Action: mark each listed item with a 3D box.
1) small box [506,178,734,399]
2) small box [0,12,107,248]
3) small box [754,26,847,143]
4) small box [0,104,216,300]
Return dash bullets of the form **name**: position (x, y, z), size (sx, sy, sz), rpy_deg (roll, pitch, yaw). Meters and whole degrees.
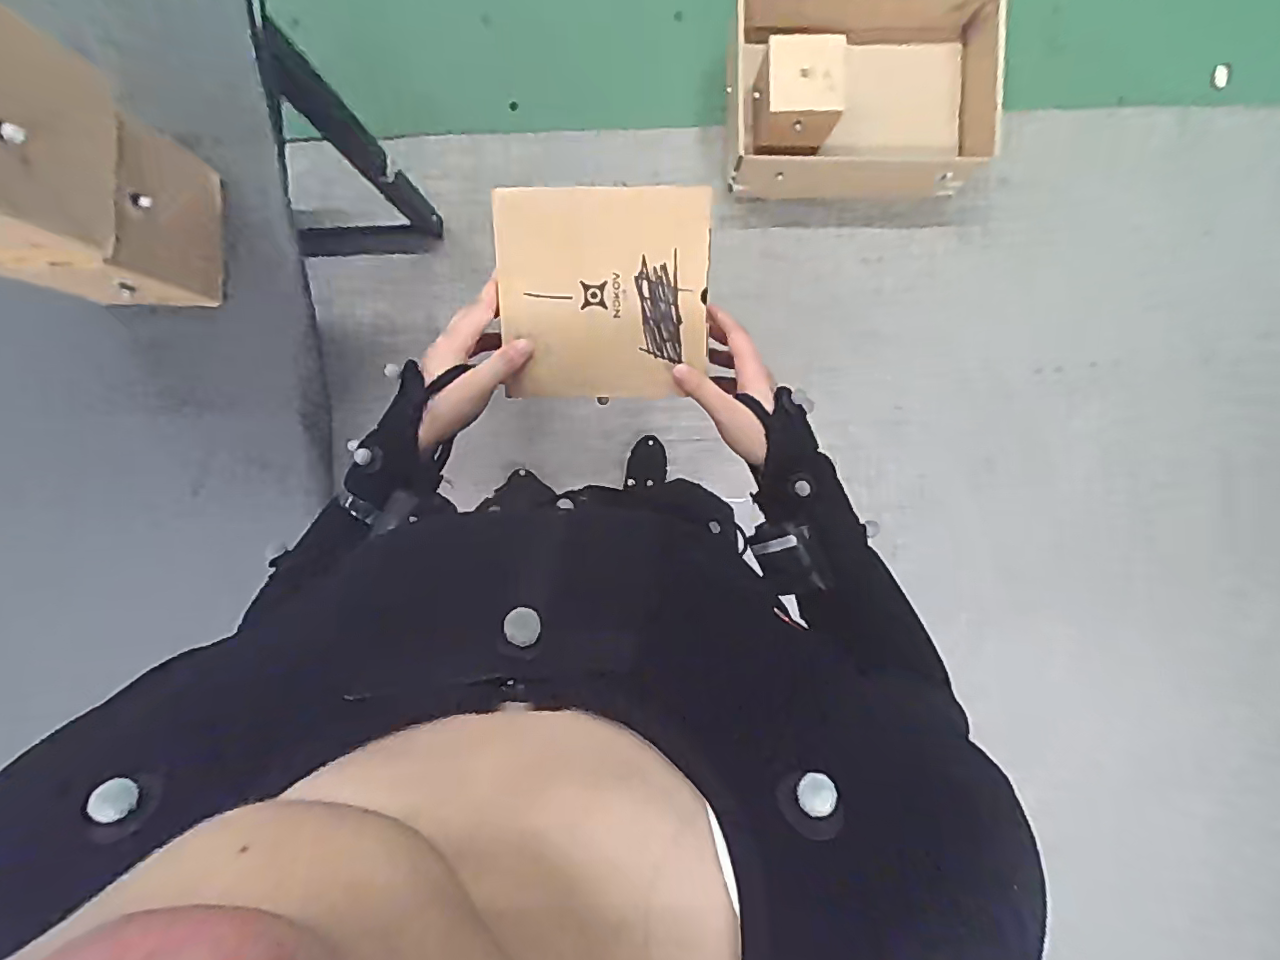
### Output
- **small box**: position (-0.017, -0.171, 0.507), size (0.179, 0.176, 0.168), rpy_deg (1, 106, 0)
- **small box**: position (-0.612, -0.315, 0.459), size (0.168, 0.176, 0.179), rpy_deg (4, 95, -1)
- **small box**: position (0.371, -0.926, 1.280), size (0.179, 0.176, 0.168), rpy_deg (-1, 96, -2)
- **small box**: position (-0.631, -0.315, 0.623), size (0.168, 0.176, 0.179), rpy_deg (1, 93, -1)
